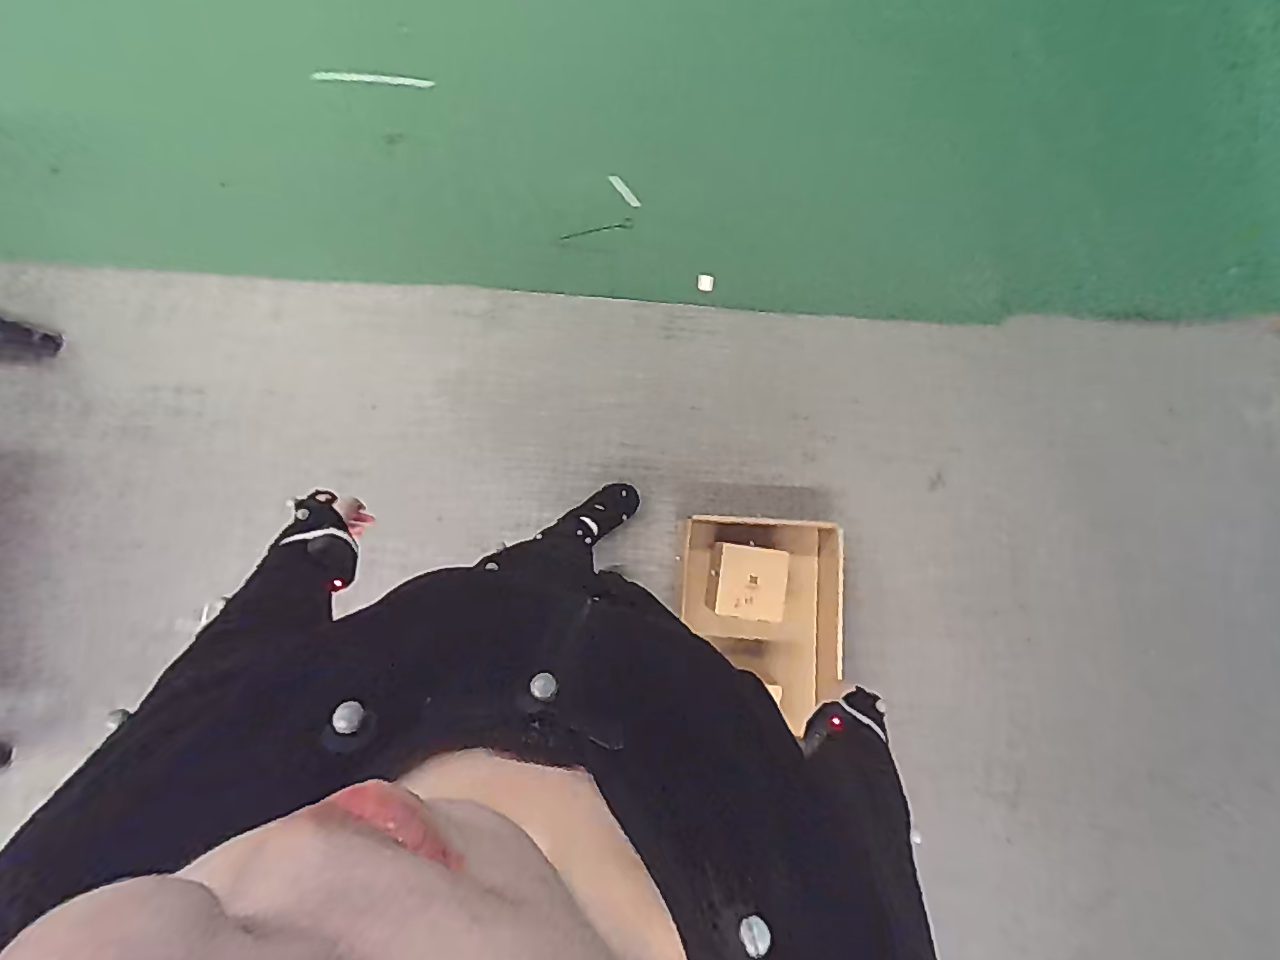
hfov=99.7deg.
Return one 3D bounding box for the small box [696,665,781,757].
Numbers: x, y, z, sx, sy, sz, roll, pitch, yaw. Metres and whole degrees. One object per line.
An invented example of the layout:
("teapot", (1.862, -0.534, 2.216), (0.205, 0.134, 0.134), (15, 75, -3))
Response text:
("small box", (0.240, 0.569, 1.354), (0.179, 0.176, 0.168), (6, 84, -1))
